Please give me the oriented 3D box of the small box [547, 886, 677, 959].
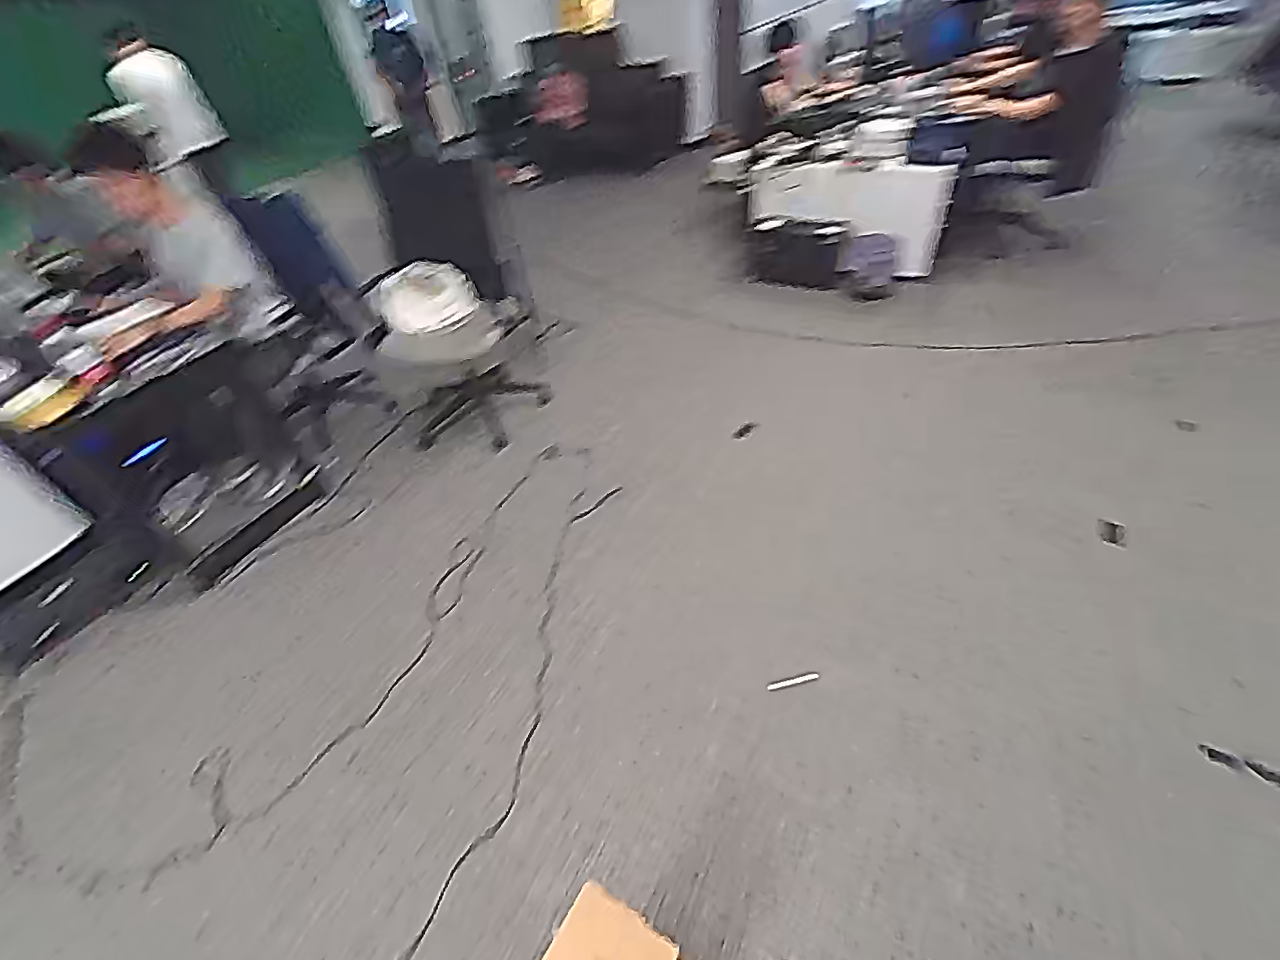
[{"bbox_3d":[-0.046,0.758,0.797,0.168,0.176,0.179,18,48,27],"label":"small box"}]
